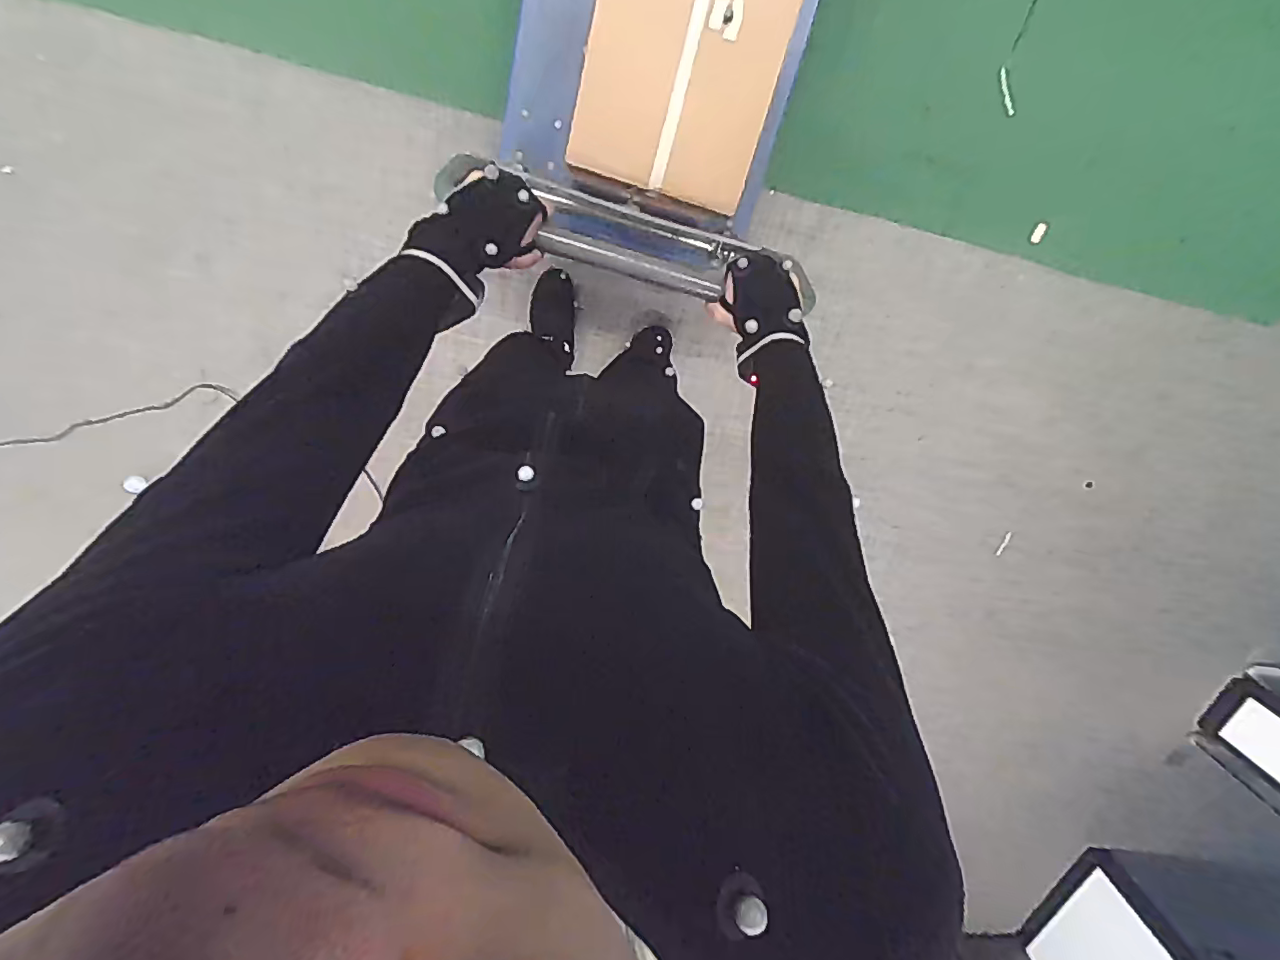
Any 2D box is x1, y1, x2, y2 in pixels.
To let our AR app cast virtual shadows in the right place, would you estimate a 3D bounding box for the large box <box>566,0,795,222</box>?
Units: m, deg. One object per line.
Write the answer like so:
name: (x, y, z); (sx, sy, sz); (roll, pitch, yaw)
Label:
large box: (0.056, -0.742, 1.017); (0.320, 0.320, 0.408); (12, 112, -11)
